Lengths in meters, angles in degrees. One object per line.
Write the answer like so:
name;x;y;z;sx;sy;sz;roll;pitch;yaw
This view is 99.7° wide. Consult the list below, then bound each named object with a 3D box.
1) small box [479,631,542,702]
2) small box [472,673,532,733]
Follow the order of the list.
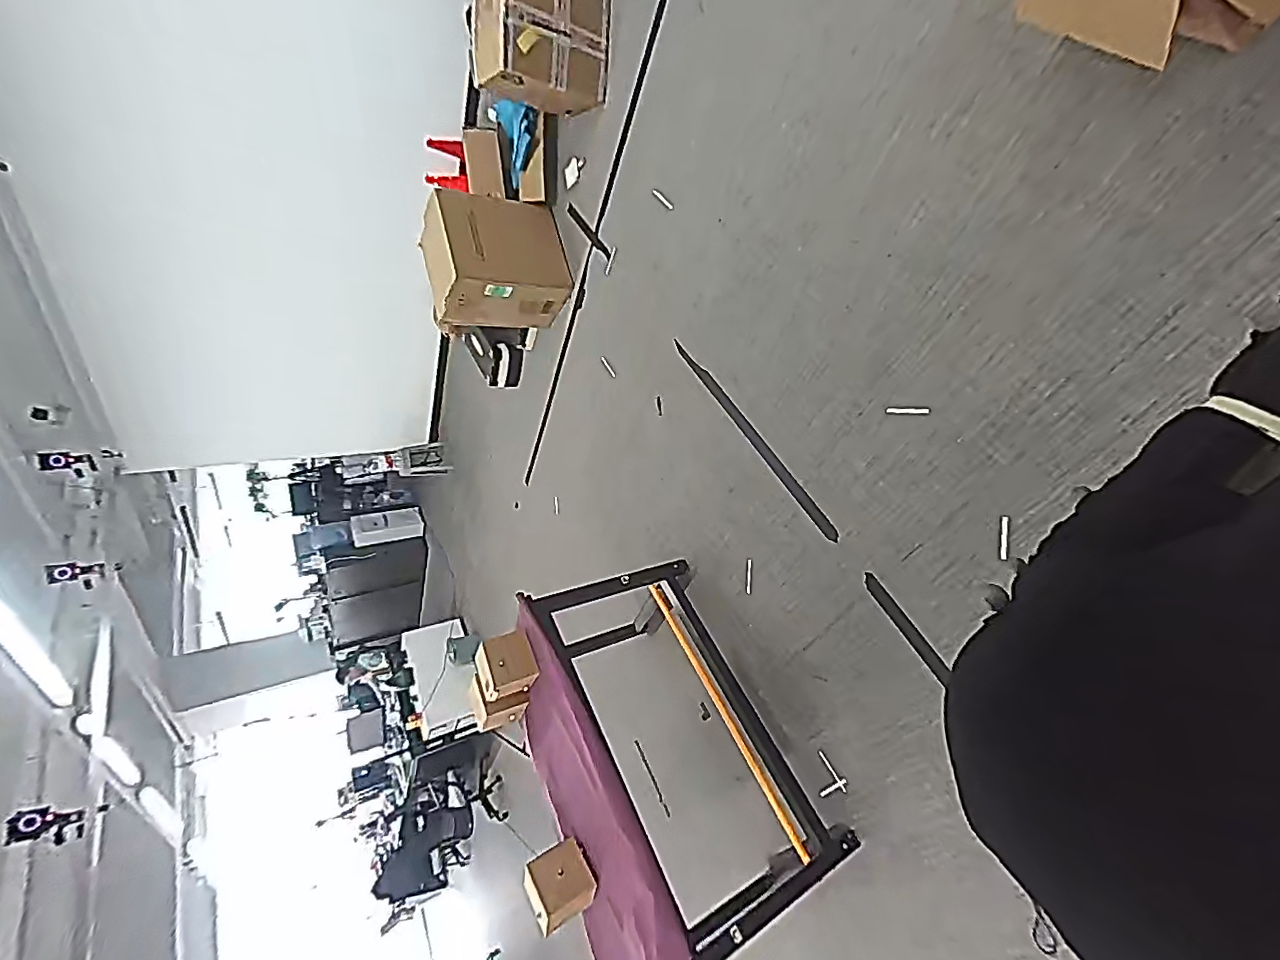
small box;-0.477;0.683;1.988;0.179;0.176;0.168;62;144;27
small box;-0.546;0.858;2.131;0.179;0.176;0.168;58;139;32
